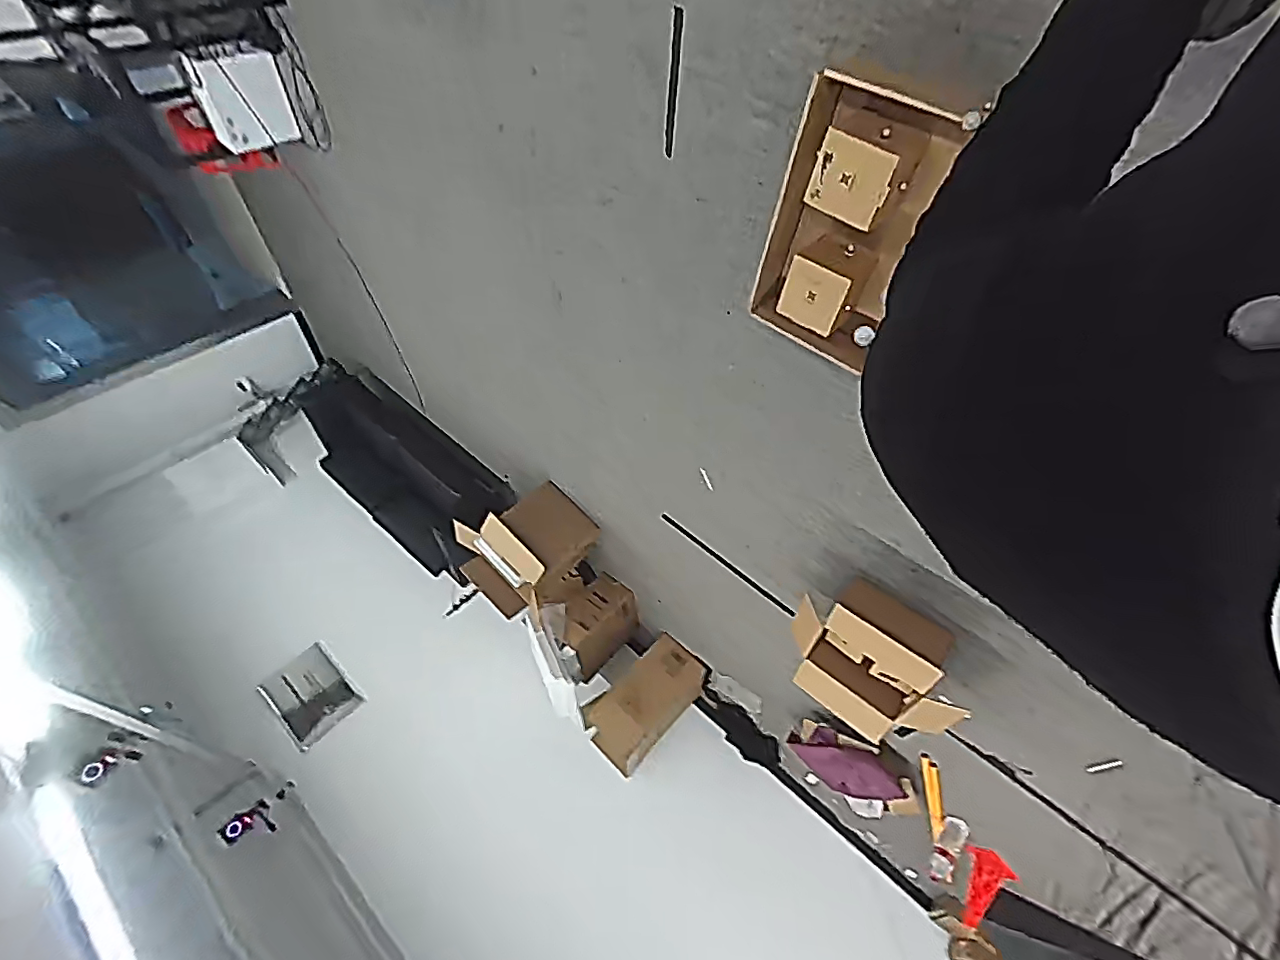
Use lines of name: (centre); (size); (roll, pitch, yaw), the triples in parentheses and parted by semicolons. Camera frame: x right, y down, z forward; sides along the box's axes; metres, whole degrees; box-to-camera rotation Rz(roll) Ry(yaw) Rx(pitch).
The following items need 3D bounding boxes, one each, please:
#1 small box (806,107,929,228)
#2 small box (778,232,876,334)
small box: (0.518, -0.716, 1.233); (0.179, 0.176, 0.168); (37, 149, 18)
small box: (0.506, -0.535, 1.459); (0.168, 0.176, 0.179); (35, 146, 20)
